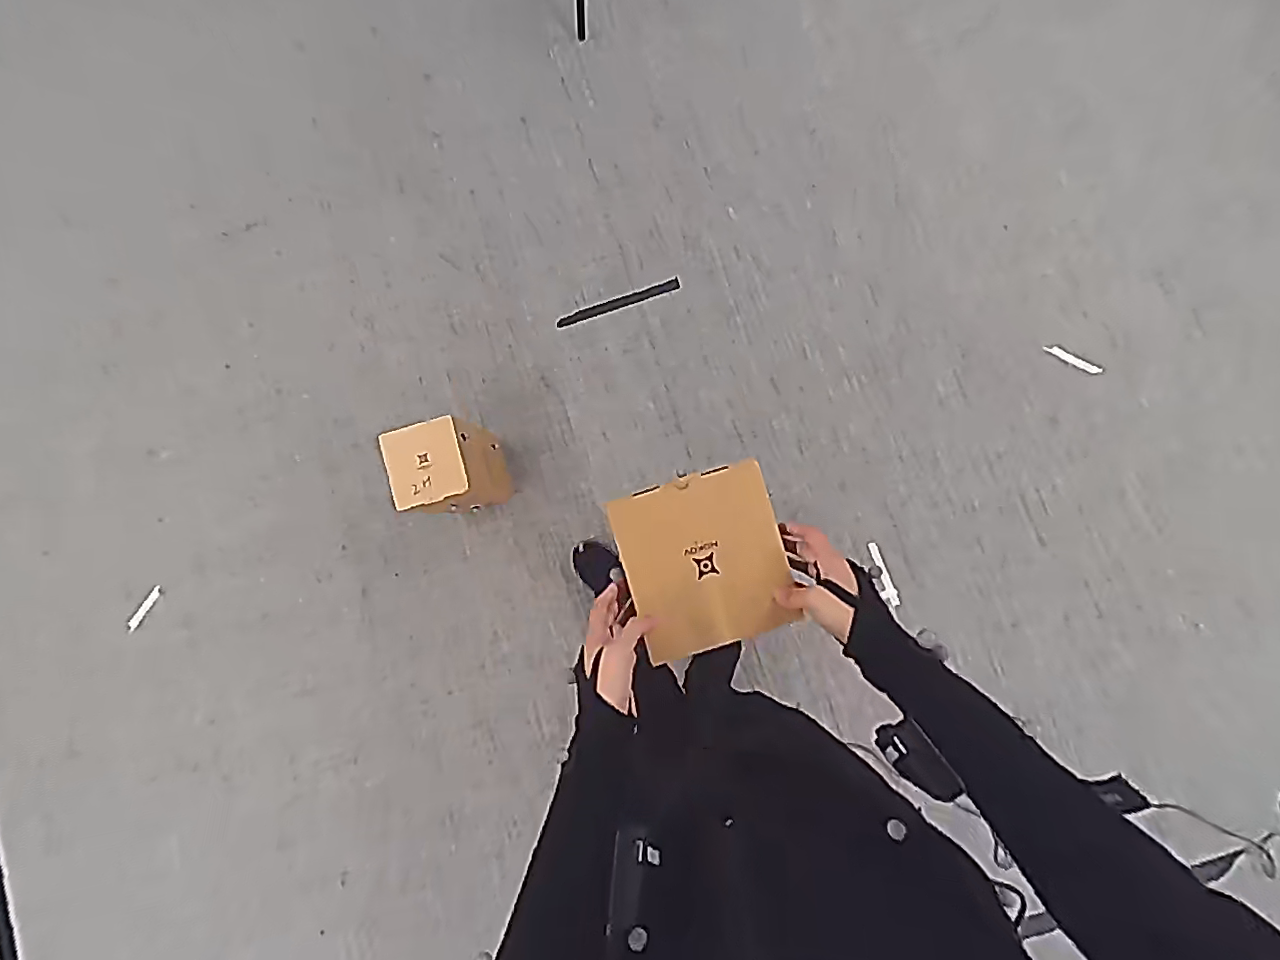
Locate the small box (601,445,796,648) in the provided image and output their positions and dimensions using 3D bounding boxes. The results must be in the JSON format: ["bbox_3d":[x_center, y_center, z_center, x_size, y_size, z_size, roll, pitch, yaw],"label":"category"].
[{"bbox_3d":[0.061,0.070,0.632,0.168,0.176,0.179,-17,87,-1],"label":"small box"}]

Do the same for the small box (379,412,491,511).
[{"bbox_3d":[-0.460,-0.035,1.233,0.168,0.176,0.179,-16,85,1],"label":"small box"}]

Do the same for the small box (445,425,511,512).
[{"bbox_3d":[-0.449,-0.024,1.397,0.168,0.176,0.179,-15,84,1],"label":"small box"}]
